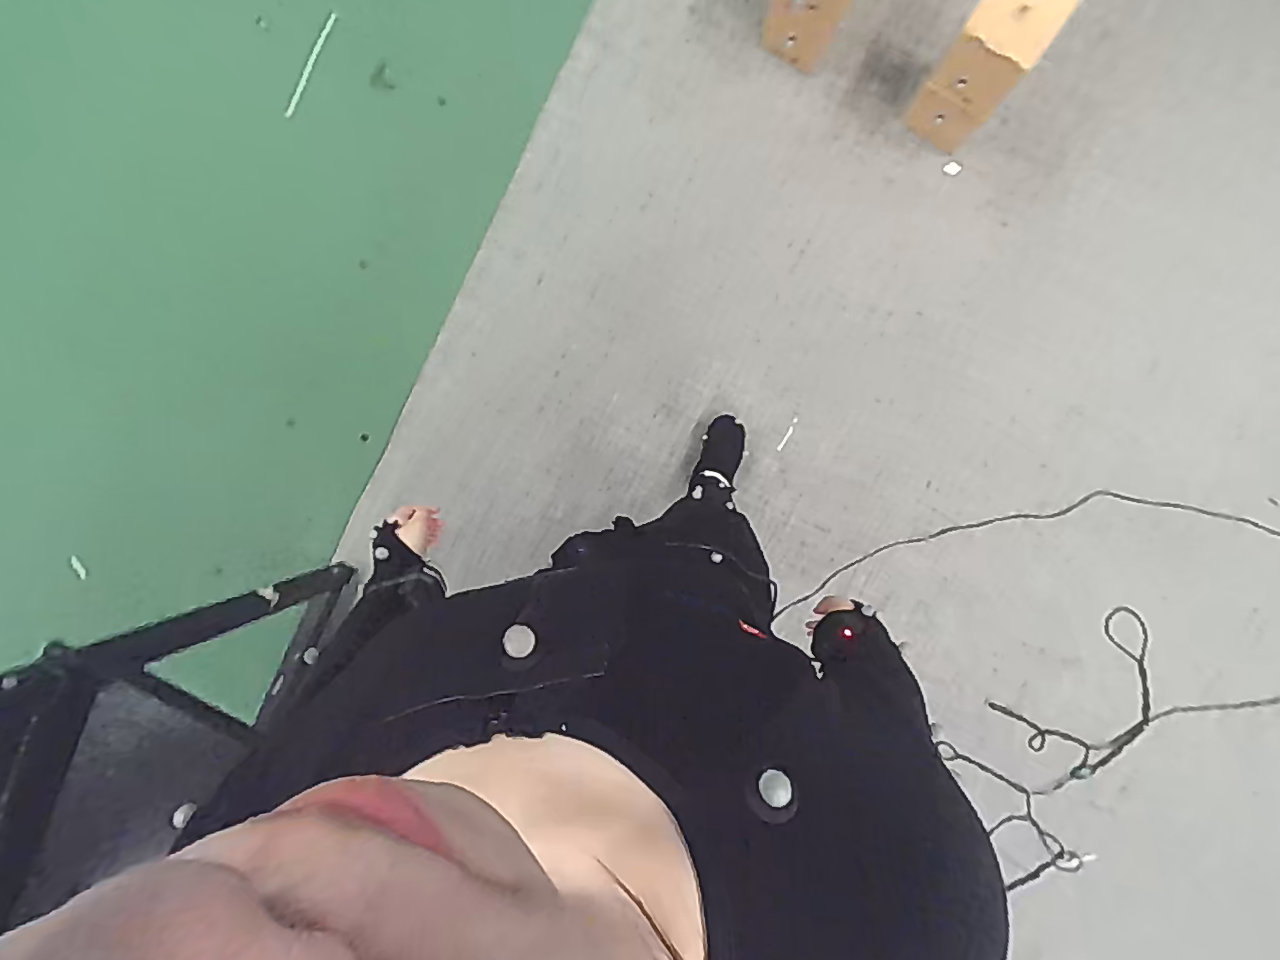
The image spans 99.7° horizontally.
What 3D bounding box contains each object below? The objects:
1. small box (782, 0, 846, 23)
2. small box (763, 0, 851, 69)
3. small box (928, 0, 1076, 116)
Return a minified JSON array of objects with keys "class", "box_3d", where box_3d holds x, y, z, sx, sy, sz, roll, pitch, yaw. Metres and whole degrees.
[{"class":"small box","box_3d":[0.413,-1.171,1.178,0.168,0.176,0.179,28,95,3]},{"class":"small box","box_3d":[0.422,-1.183,1.341,0.168,0.176,0.179,32,95,1]},{"class":"small box","box_3d":[0.768,-0.950,1.168,0.168,0.176,0.179,35,96,1]}]
